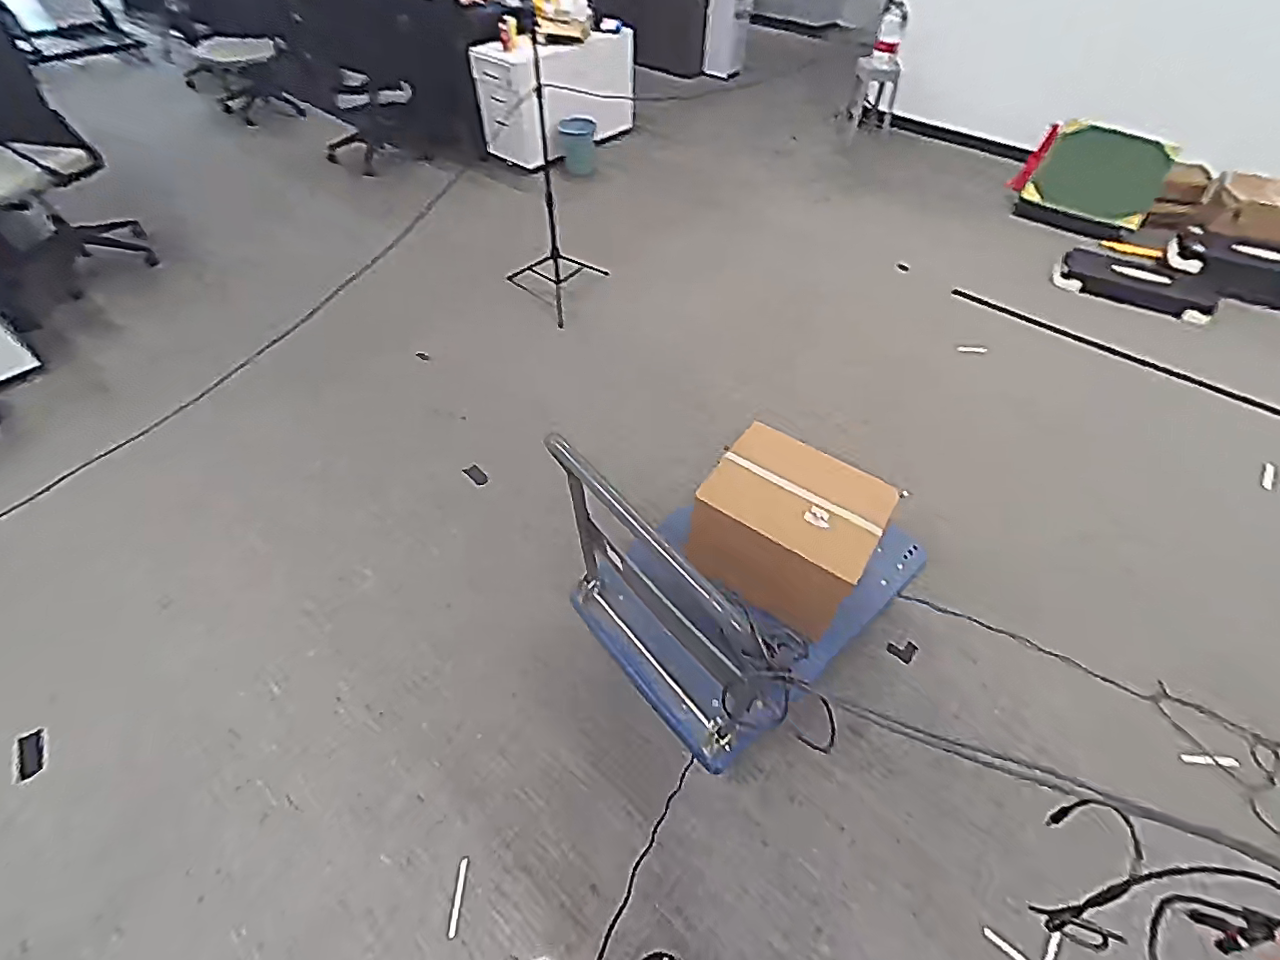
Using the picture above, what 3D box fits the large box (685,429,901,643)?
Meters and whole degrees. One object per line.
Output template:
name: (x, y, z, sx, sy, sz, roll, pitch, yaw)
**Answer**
large box: (0.372, 0.140, 1.396, 0.408, 0.320, 0.320, 30, 57, 20)
